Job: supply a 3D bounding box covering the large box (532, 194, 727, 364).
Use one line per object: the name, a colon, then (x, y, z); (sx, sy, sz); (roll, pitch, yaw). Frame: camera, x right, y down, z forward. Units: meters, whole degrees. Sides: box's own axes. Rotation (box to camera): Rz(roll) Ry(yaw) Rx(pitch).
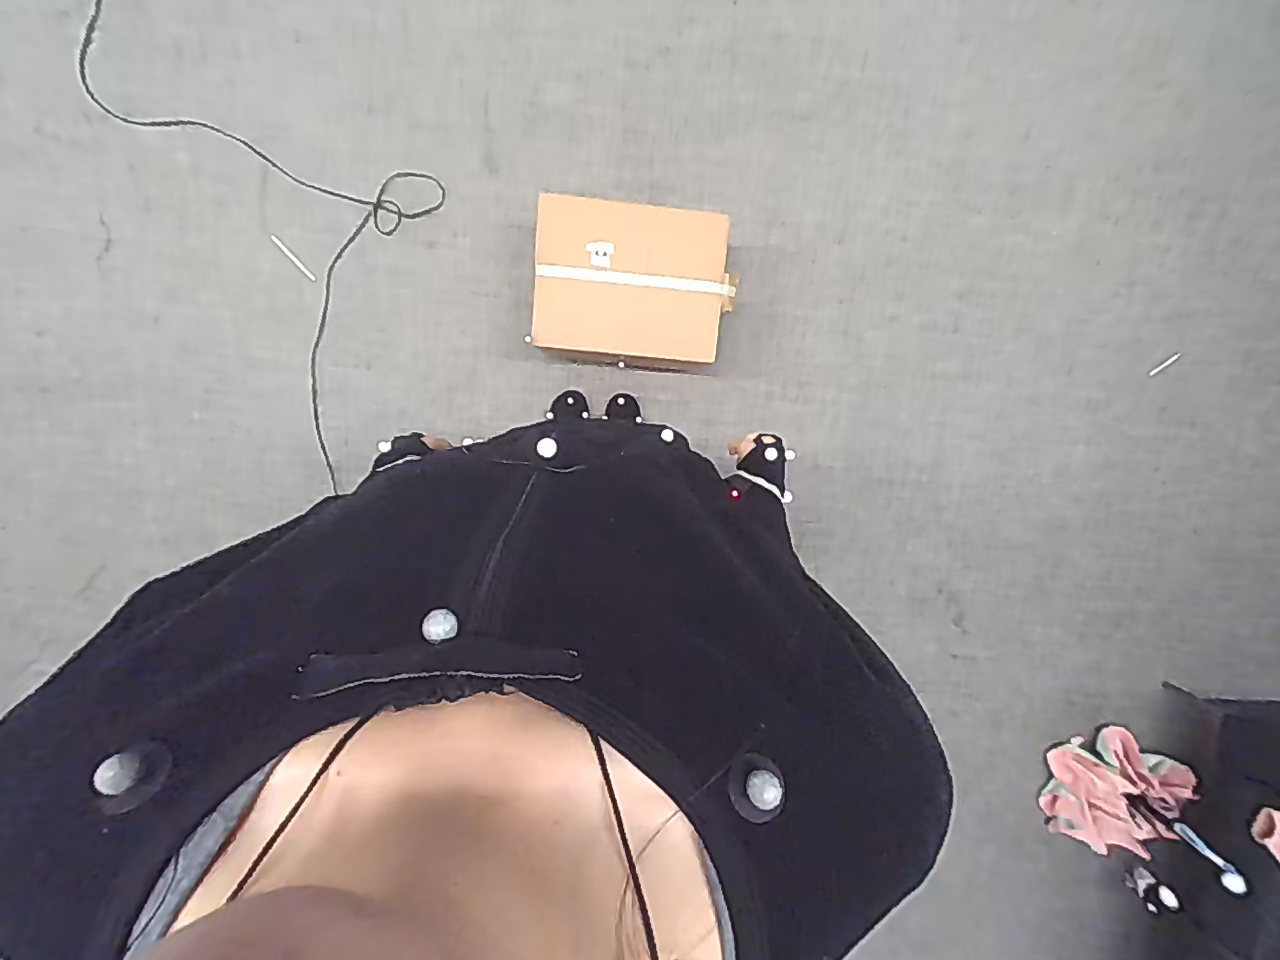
large box: (-0.029, -0.455, 1.305); (0.408, 0.320, 0.320); (5, 98, -4)
